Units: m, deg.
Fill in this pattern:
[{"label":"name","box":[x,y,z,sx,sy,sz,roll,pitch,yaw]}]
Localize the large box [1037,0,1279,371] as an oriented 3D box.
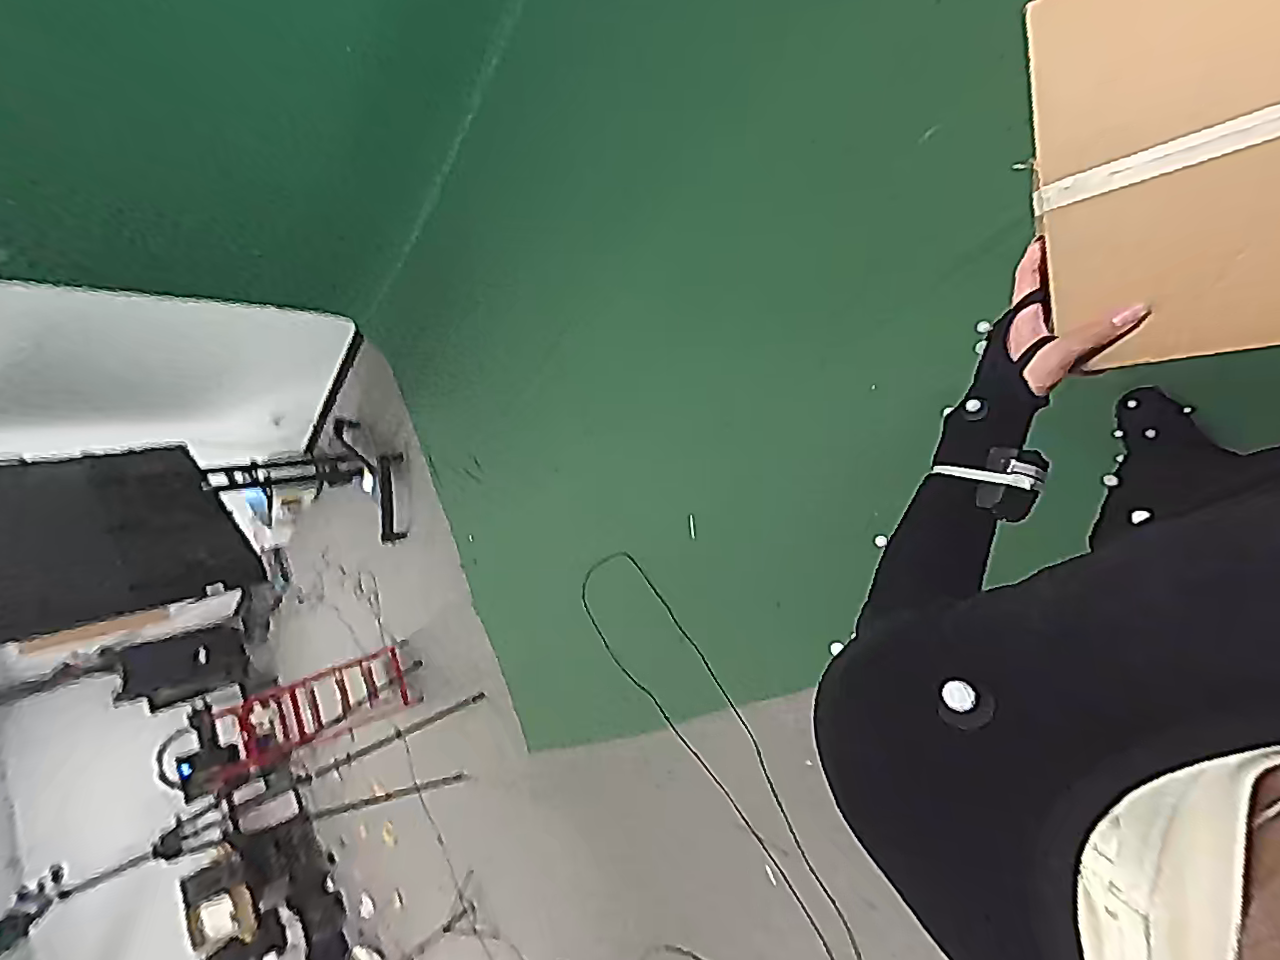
[{"label":"large box","box":[0.606,-0.288,0.436,0.408,0.320,0.320,-2,102,47]}]
